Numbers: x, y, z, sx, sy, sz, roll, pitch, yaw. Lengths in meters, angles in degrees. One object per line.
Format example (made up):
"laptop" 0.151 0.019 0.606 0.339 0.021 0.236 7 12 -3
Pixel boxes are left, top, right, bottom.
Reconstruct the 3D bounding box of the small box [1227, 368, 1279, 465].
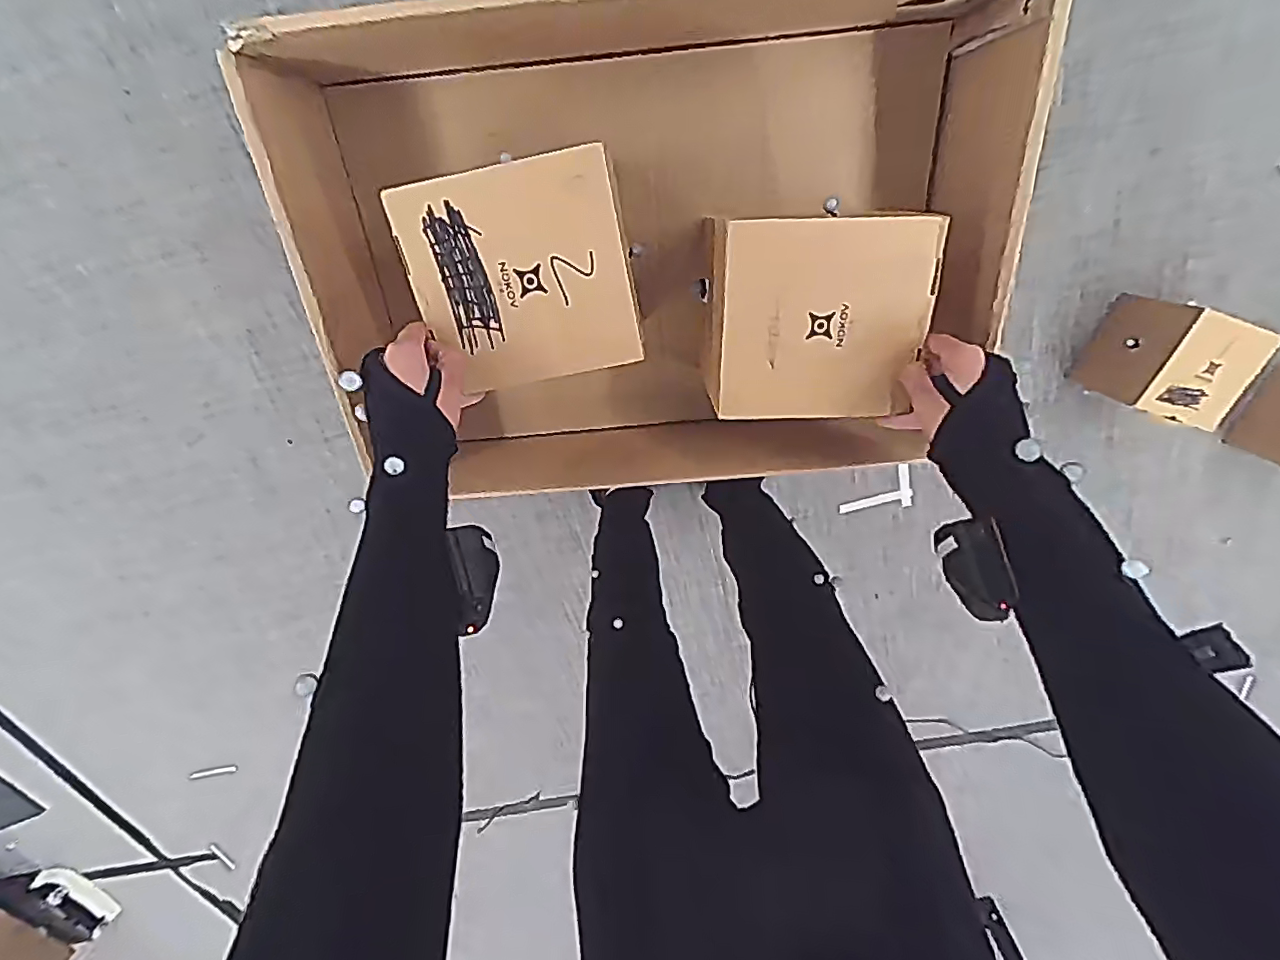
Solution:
"small box" 1.315 -0.105 1.035 0.168 0.176 0.179 9 115 -5

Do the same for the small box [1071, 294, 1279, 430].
"small box" 0.940 -0.217 0.976 0.168 0.176 0.179 15 115 -8
